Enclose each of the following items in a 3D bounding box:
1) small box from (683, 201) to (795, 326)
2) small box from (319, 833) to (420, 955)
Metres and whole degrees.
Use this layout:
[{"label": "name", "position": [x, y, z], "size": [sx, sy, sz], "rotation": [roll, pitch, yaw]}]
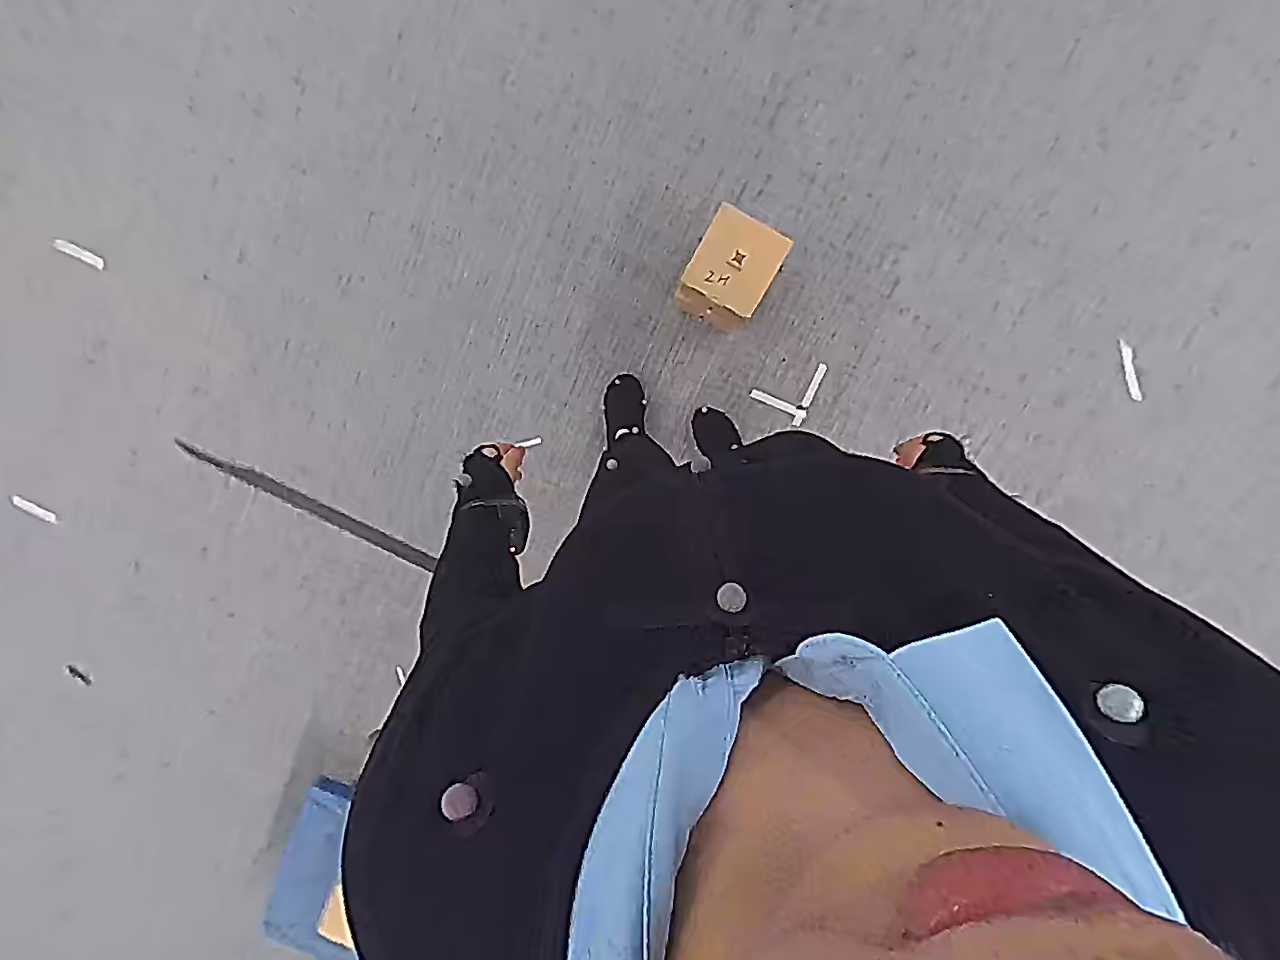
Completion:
[{"label": "small box", "position": [0.204, -0.453, 1.161], "size": [0.168, 0.176, 0.179], "rotation": [30, 102, 0]}, {"label": "small box", "position": [-0.741, 1.140, 1.500], "size": [0.168, 0.176, 0.179], "rotation": [24, 101, 0]}]
